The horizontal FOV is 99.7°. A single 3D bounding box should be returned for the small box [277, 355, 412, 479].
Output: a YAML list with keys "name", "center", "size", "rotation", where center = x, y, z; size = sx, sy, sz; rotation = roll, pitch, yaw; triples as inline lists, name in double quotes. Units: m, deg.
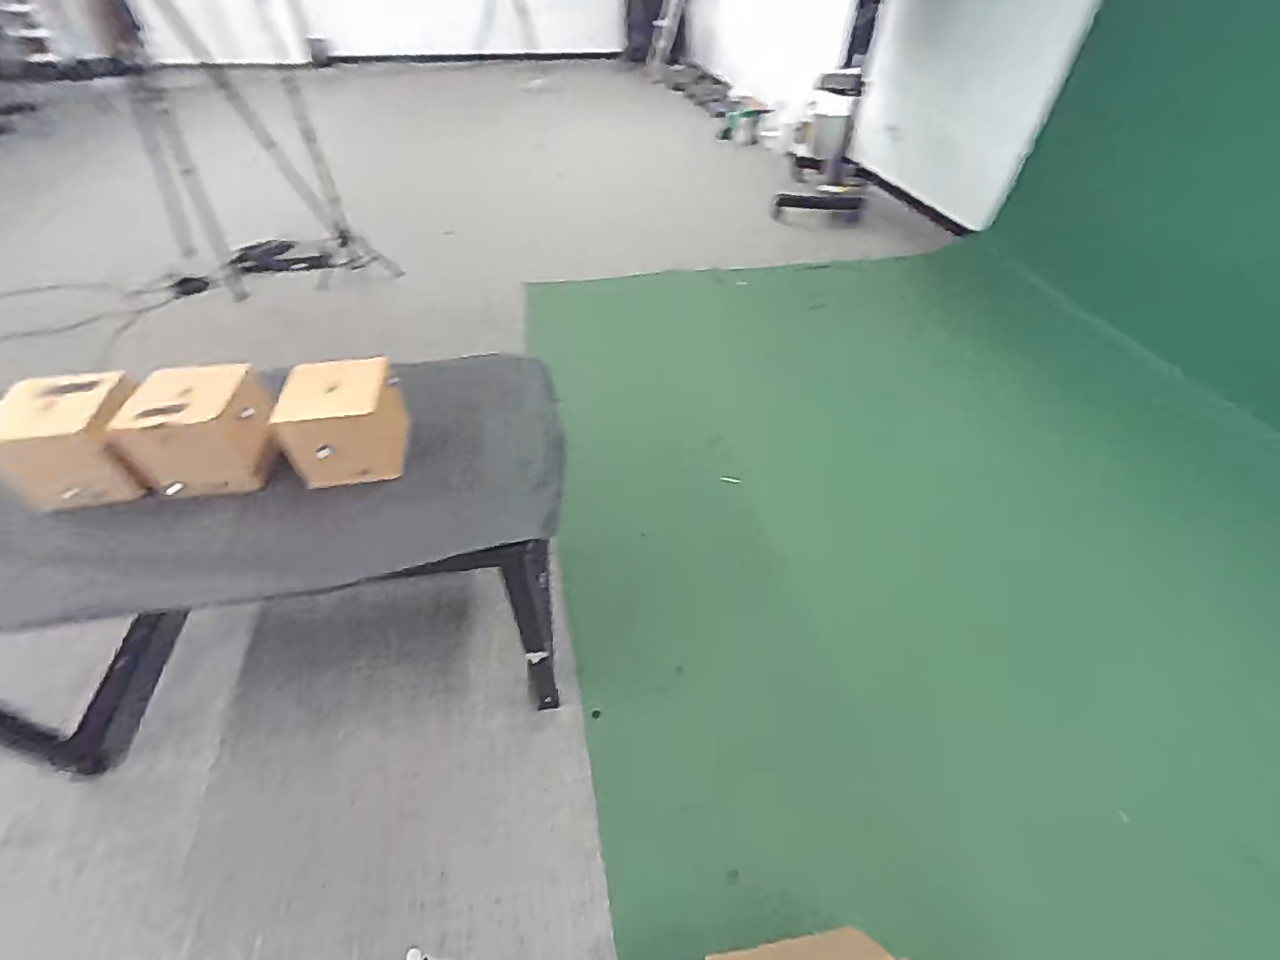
- name: "small box"
  center: [-0.550, -0.115, 1.036]
  size: [0.168, 0.176, 0.179]
  rotation: [-7, 46, -8]
